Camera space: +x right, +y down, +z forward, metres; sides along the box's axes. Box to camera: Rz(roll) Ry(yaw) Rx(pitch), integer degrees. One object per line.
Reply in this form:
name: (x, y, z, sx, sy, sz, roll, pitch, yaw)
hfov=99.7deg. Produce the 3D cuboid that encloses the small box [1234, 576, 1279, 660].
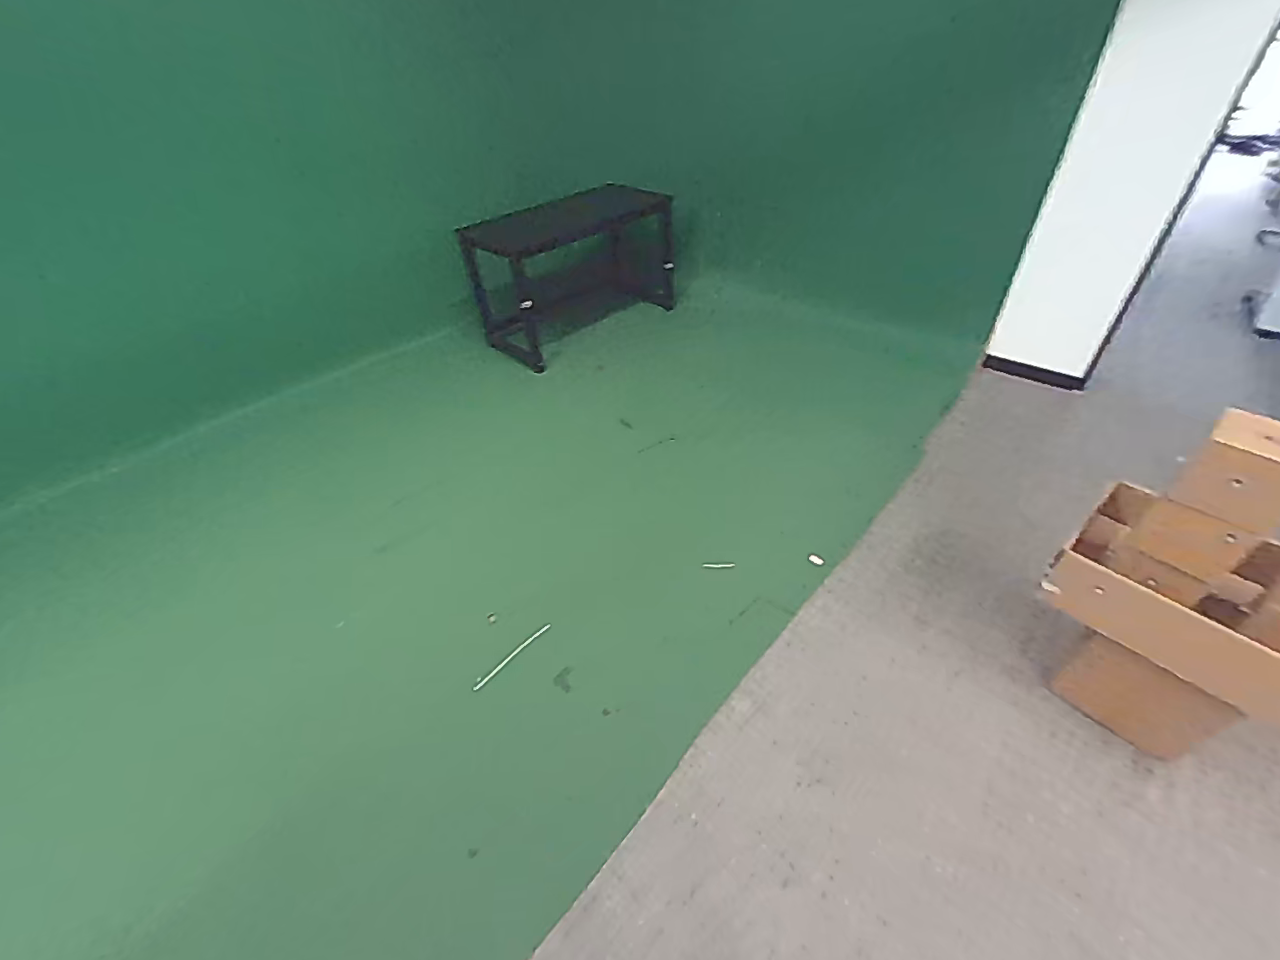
small box: (1.502, 0.311, 1.206, 0.179, 0.176, 0.168, -29, 47, -23)

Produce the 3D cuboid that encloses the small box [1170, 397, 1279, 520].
small box: (1.287, -0.040, 1.133, 0.168, 0.176, 0.179, -33, 48, -27)
